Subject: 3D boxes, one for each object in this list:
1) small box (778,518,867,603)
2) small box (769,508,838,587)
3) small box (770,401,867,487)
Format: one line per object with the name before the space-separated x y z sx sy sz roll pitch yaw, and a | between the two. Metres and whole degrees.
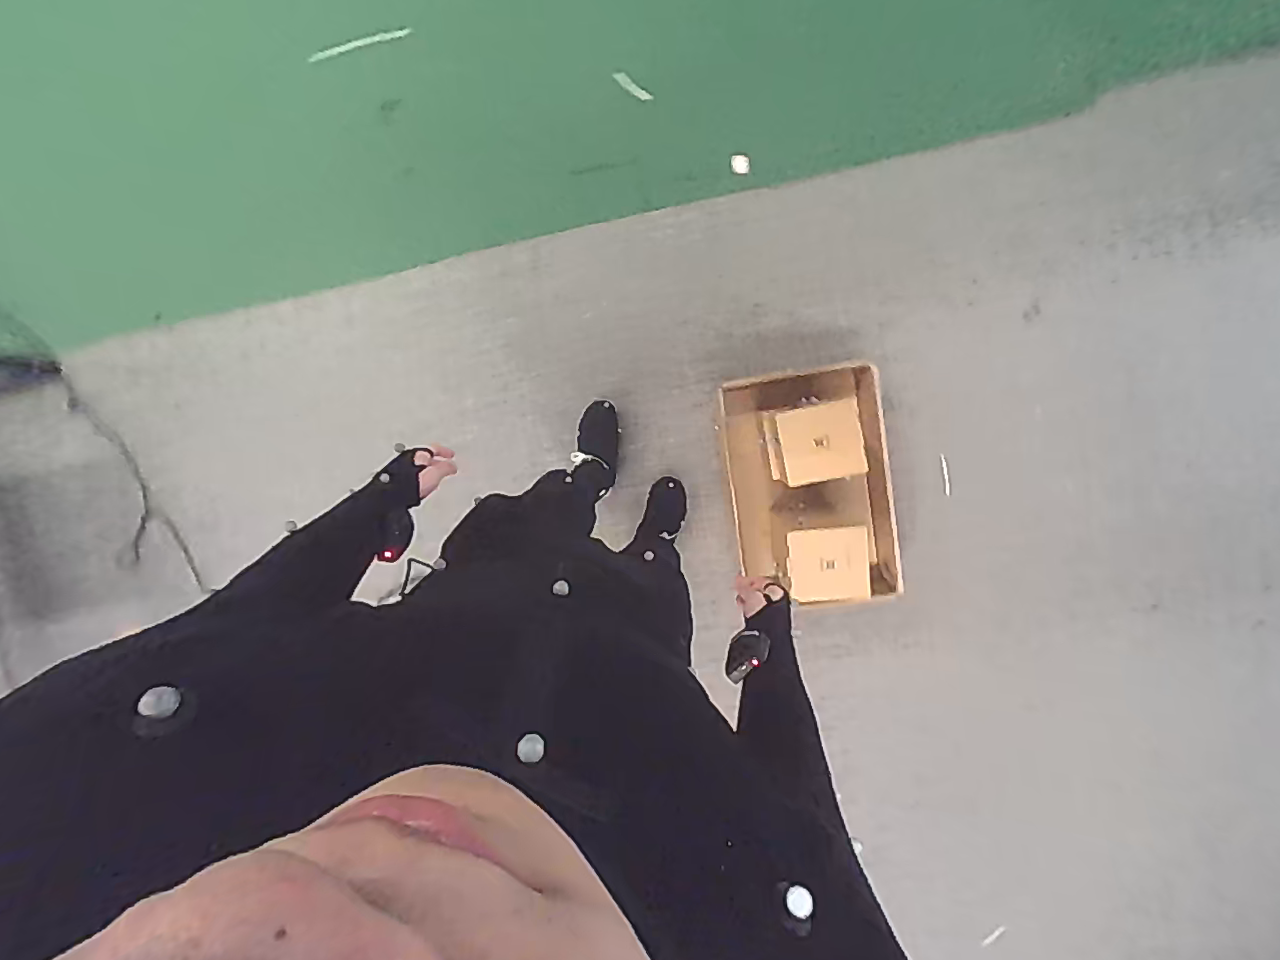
small box | 0.426 0.187 1.285 0.179 0.176 0.168 -4 96 7
small box | 0.441 0.176 1.446 0.168 0.176 0.179 -4 95 7
small box | 0.406 -0.085 1.261 0.179 0.176 0.168 -11 95 7
